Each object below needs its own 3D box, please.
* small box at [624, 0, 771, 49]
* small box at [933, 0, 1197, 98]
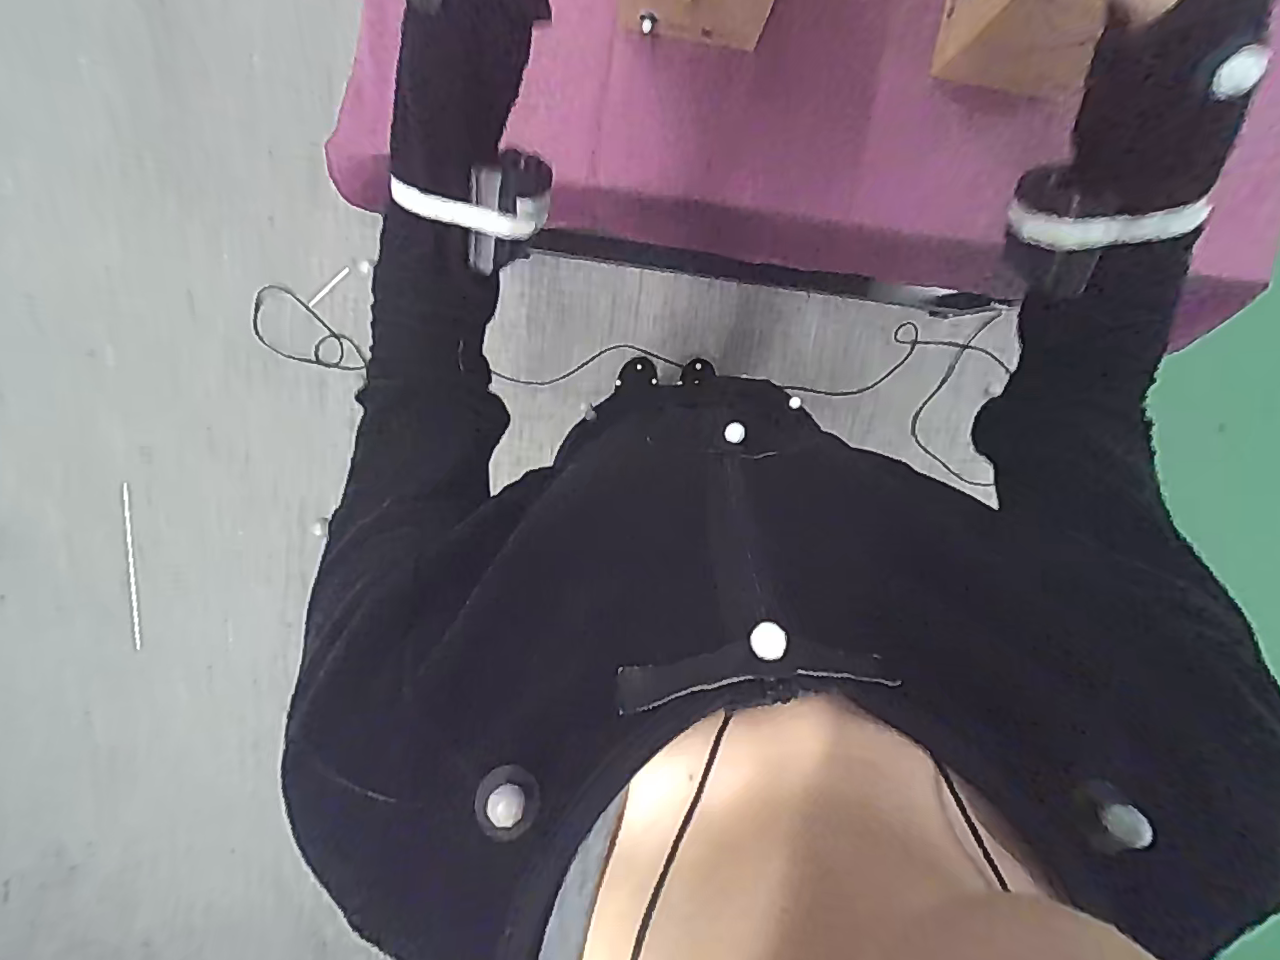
[{"bbox_3d":[0.072,-0.599,0.564,0.168,0.176,0.179,7,100,-4],"label":"small box"},{"bbox_3d":[0.462,-0.552,0.585,0.179,0.176,0.168,8,101,-4],"label":"small box"}]
